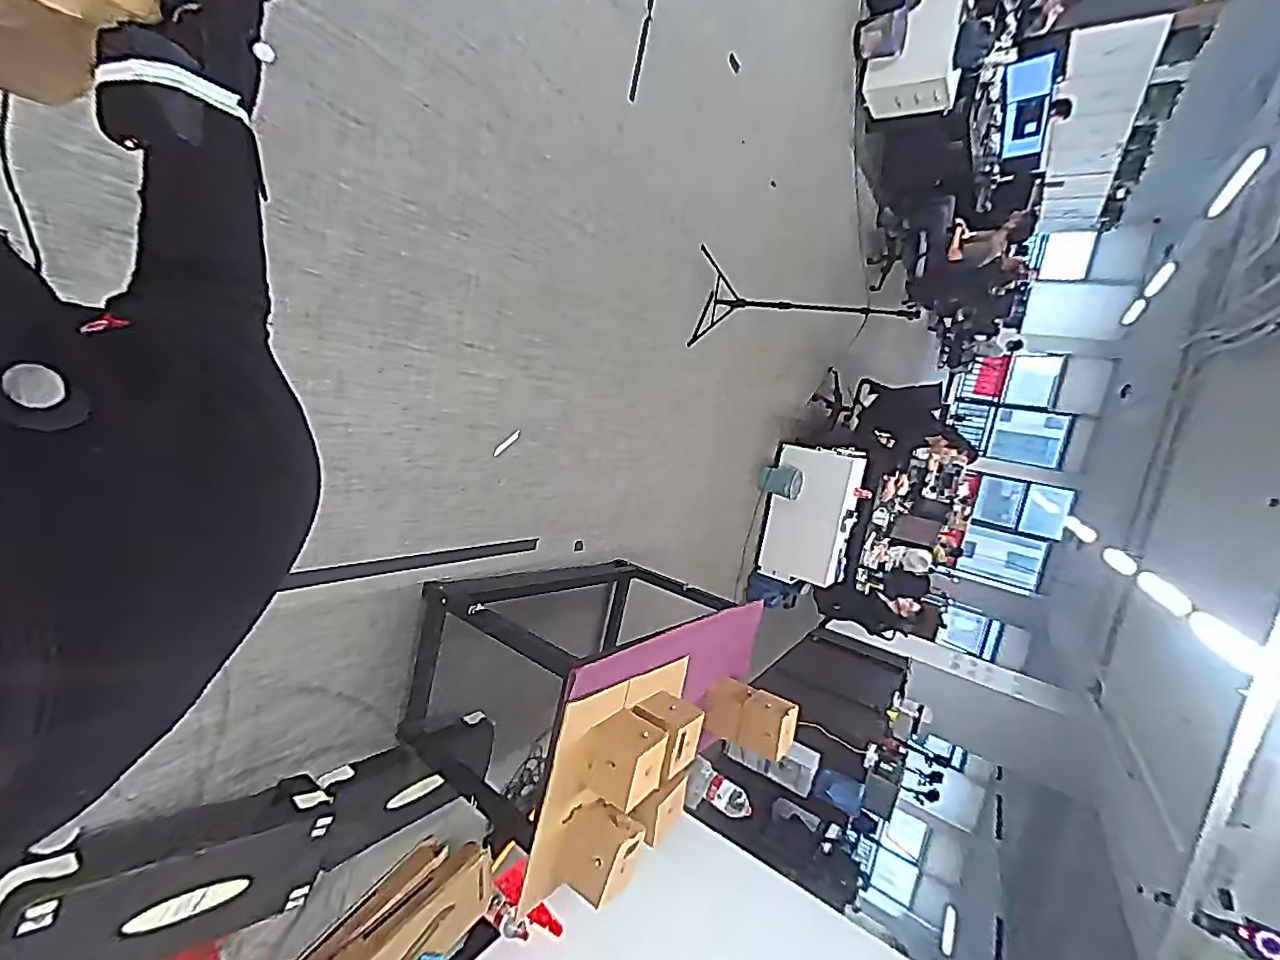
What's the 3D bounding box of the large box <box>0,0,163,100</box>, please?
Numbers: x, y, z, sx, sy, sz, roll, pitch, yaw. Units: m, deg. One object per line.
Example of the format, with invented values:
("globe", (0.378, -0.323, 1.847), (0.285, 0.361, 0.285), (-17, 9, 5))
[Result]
("large box", (-0.552, -0.480, 0.279), (0.408, 0.320, 0.320), (-3, 108, -57))
